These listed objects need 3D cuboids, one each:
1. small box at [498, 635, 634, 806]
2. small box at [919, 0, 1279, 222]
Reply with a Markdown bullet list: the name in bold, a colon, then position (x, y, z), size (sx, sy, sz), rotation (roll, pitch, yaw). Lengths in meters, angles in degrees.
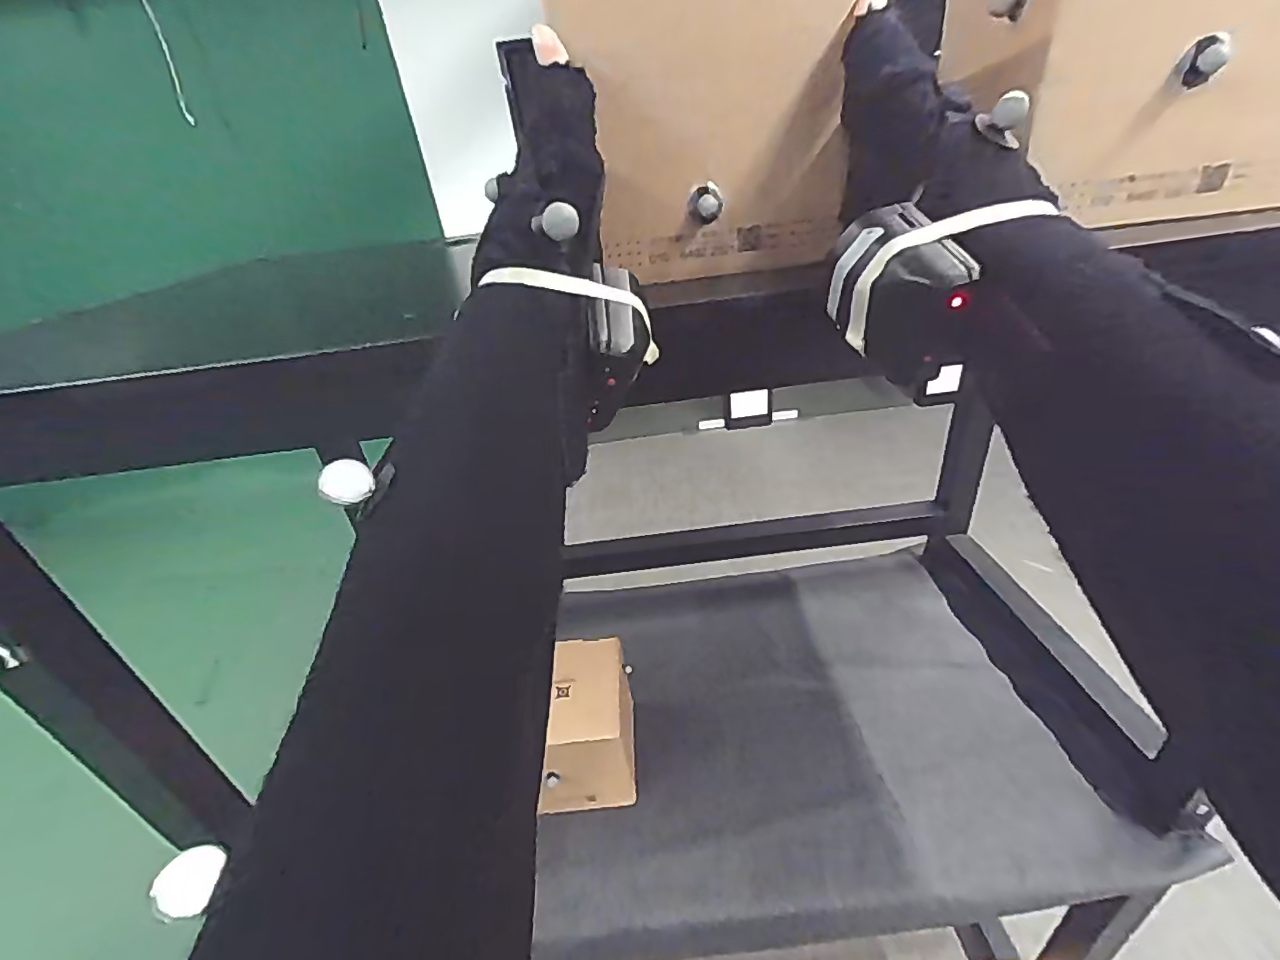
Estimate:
- **small box**: position (-0.101, 0.367, 0.821), size (0.168, 0.176, 0.179), rotation (-7, 30, 1)
- **small box**: position (0.307, -0.276, 0.361), size (0.168, 0.176, 0.179), rotation (-2, 30, 9)
